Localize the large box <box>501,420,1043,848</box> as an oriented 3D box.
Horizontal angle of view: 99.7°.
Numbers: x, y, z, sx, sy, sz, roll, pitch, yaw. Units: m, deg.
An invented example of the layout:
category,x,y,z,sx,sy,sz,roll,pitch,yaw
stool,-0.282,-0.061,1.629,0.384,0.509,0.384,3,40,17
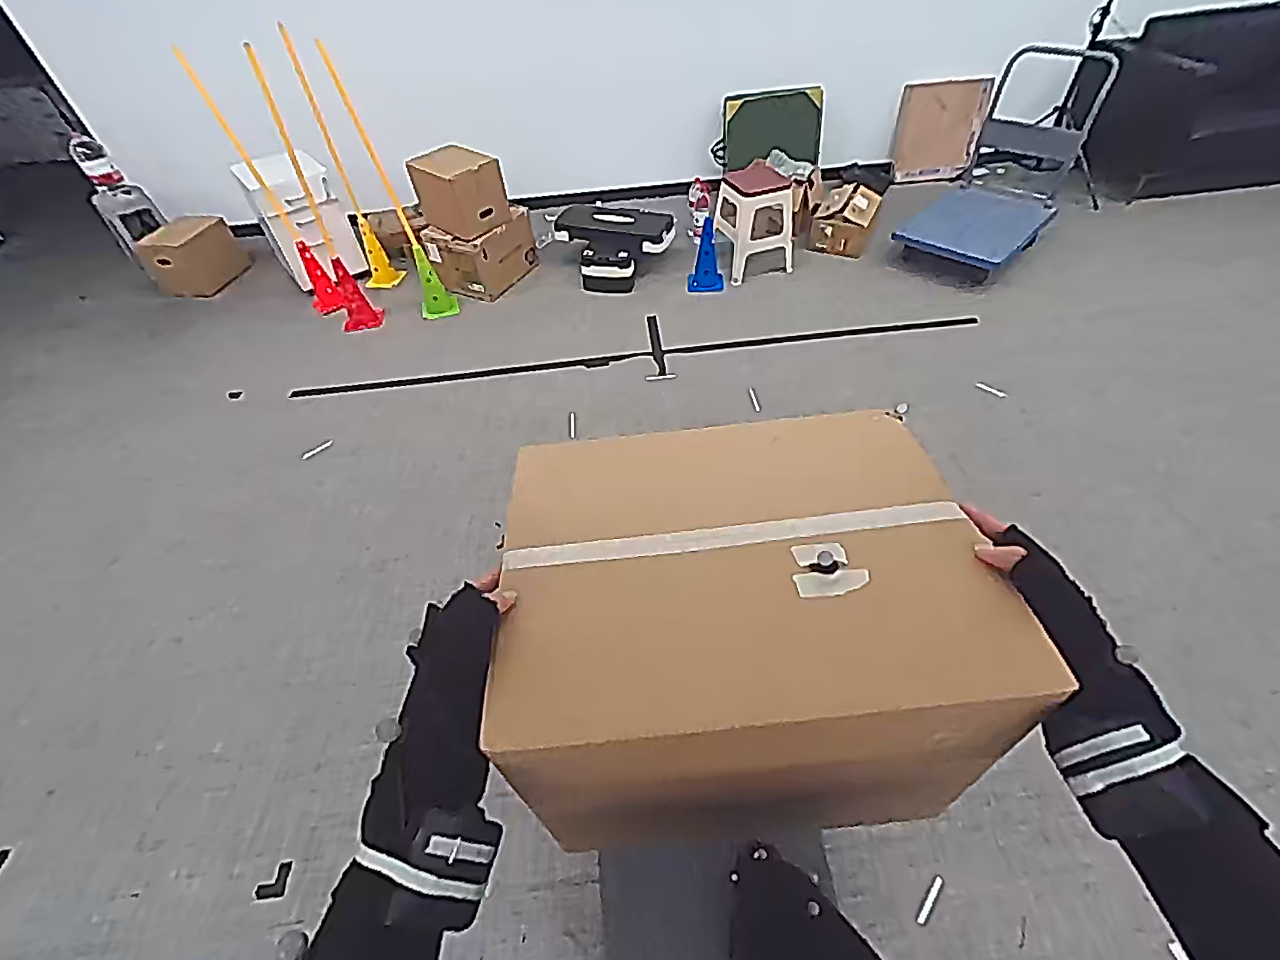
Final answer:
category,x,y,z,sx,sy,sz,roll,pitch,yaw
large box,0.094,0.167,0.594,0.408,0.320,0.320,-7,44,0
